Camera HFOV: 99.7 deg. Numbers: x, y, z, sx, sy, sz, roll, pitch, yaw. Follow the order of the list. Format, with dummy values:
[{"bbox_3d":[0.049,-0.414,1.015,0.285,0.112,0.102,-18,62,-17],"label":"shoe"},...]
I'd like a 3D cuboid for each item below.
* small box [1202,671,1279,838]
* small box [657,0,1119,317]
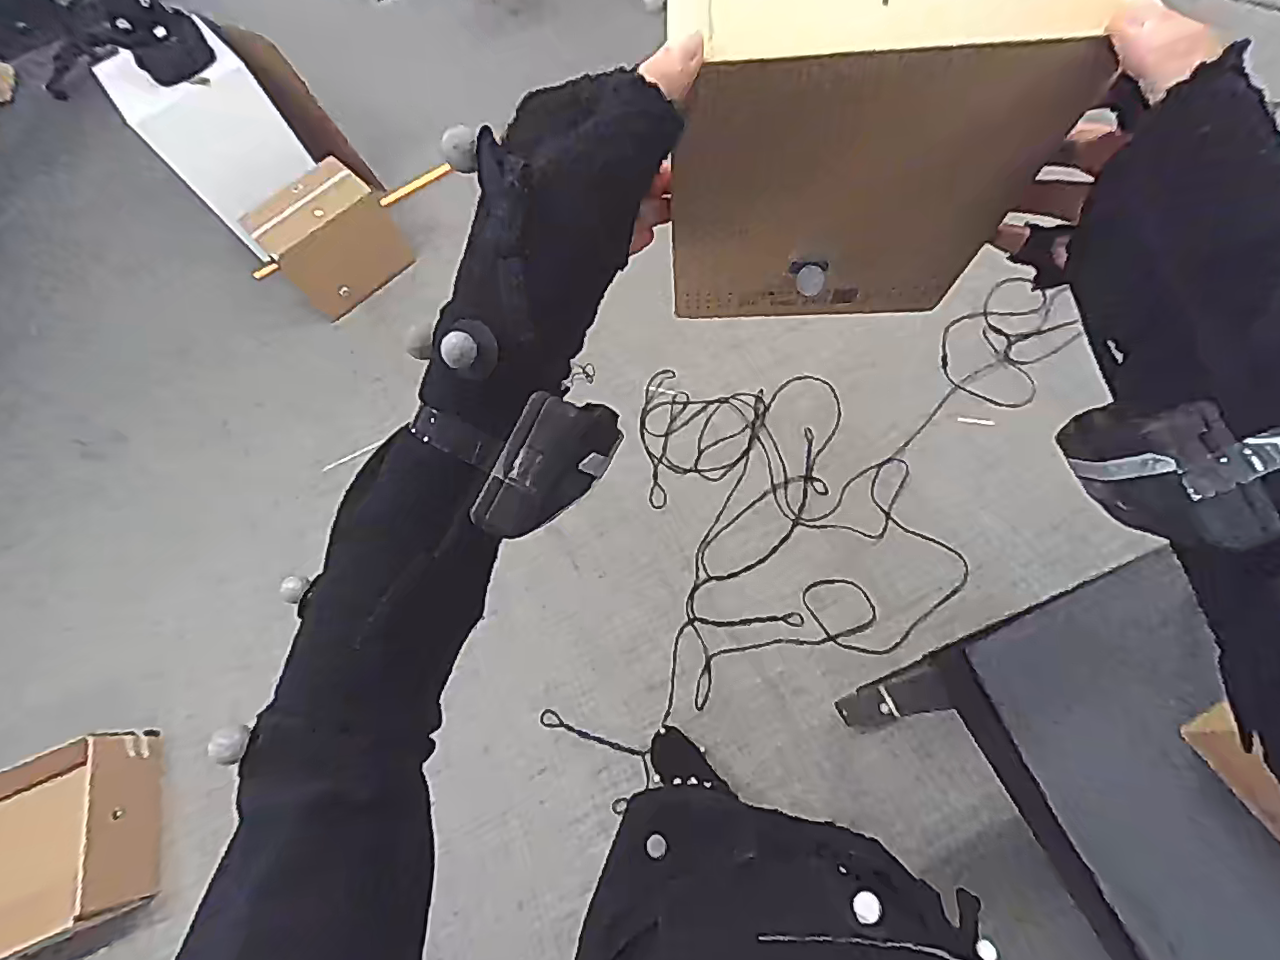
[{"bbox_3d":[0.653,0.250,0.454,0.179,0.176,0.168,-28,65,-6],"label":"small box"},{"bbox_3d":[0.095,-0.212,0.296,0.168,0.176,0.179,0,74,5],"label":"small box"}]
